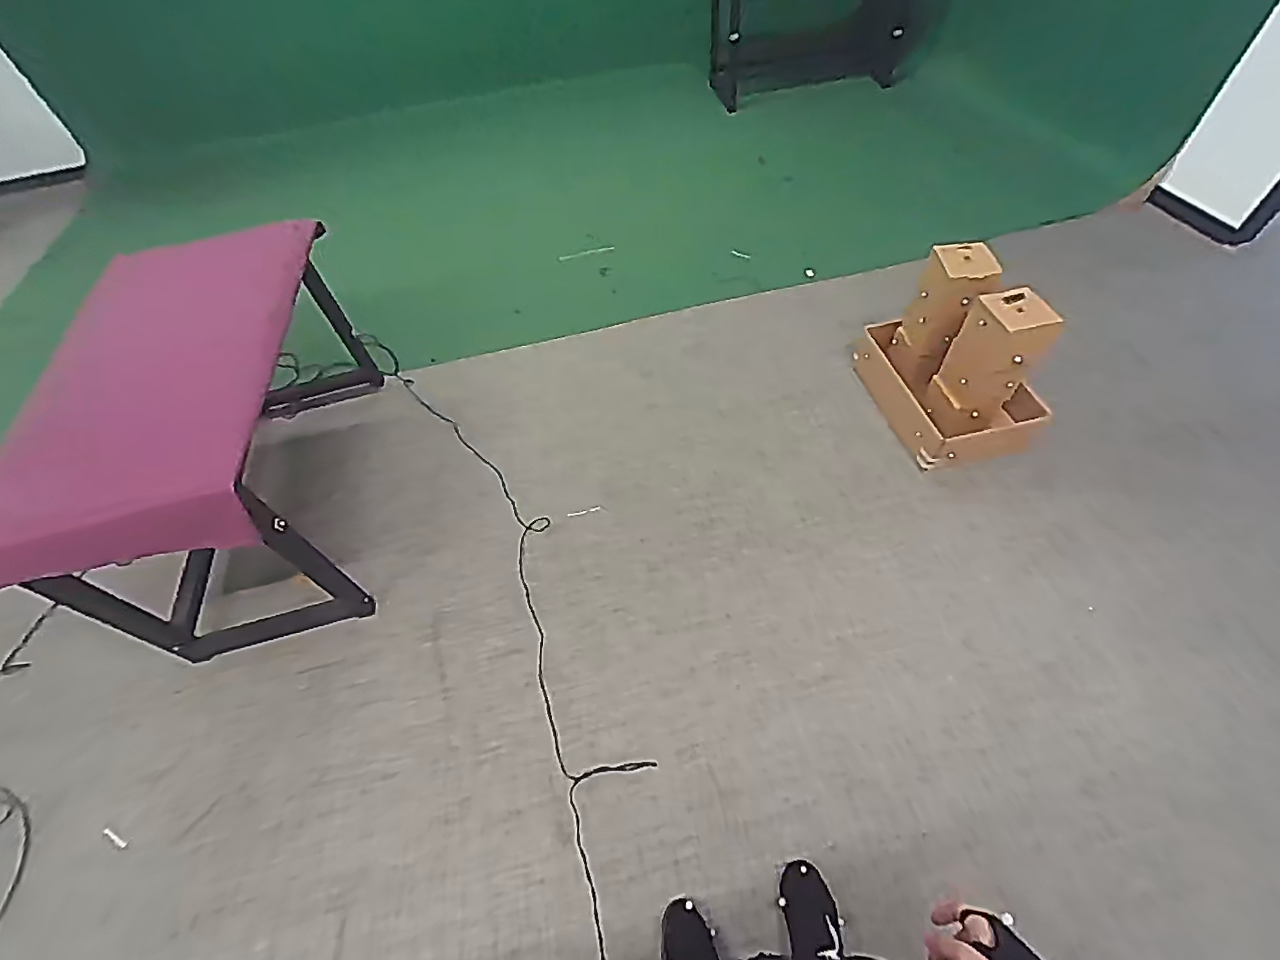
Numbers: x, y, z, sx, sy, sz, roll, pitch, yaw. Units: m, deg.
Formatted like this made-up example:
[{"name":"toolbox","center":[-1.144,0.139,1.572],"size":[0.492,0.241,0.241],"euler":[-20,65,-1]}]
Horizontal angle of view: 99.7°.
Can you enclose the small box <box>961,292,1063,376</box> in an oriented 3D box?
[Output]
[{"name":"small box","center":[1.130,-0.447,1.663],"size":[0.168,0.176,0.179],"euler":[-11,53,-2]}]

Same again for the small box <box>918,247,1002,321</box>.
[{"name":"small box","center":[1.066,-0.651,1.816],"size":[0.168,0.176,0.179],"euler":[-2,56,4]}]
